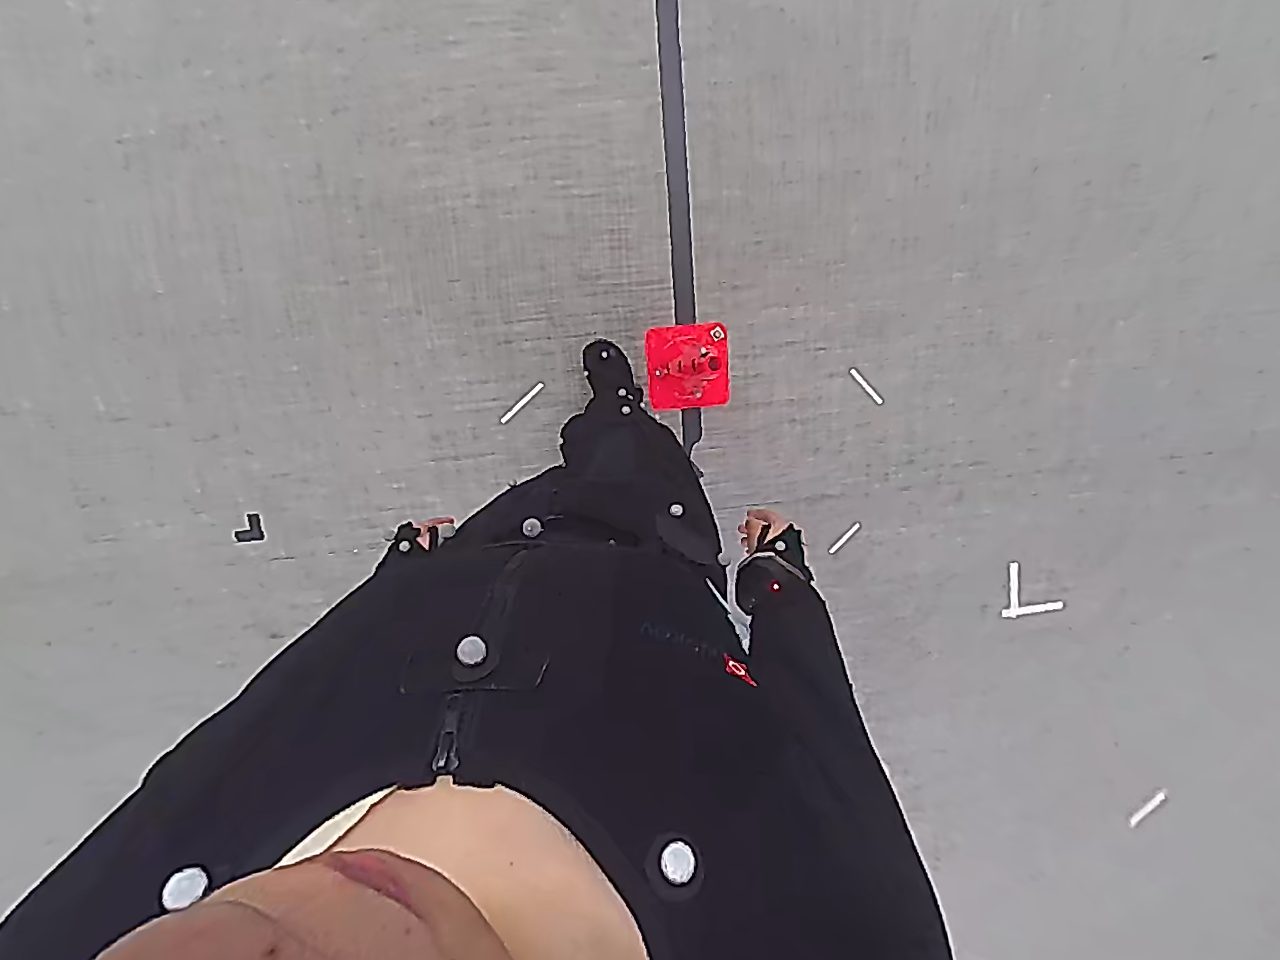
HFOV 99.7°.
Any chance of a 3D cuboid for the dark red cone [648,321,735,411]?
[{"bbox_3d":[0.129,-0.238,1.128,0.201,0.394,0.202,-6,101,-1],"label":"dark red cone"}]
